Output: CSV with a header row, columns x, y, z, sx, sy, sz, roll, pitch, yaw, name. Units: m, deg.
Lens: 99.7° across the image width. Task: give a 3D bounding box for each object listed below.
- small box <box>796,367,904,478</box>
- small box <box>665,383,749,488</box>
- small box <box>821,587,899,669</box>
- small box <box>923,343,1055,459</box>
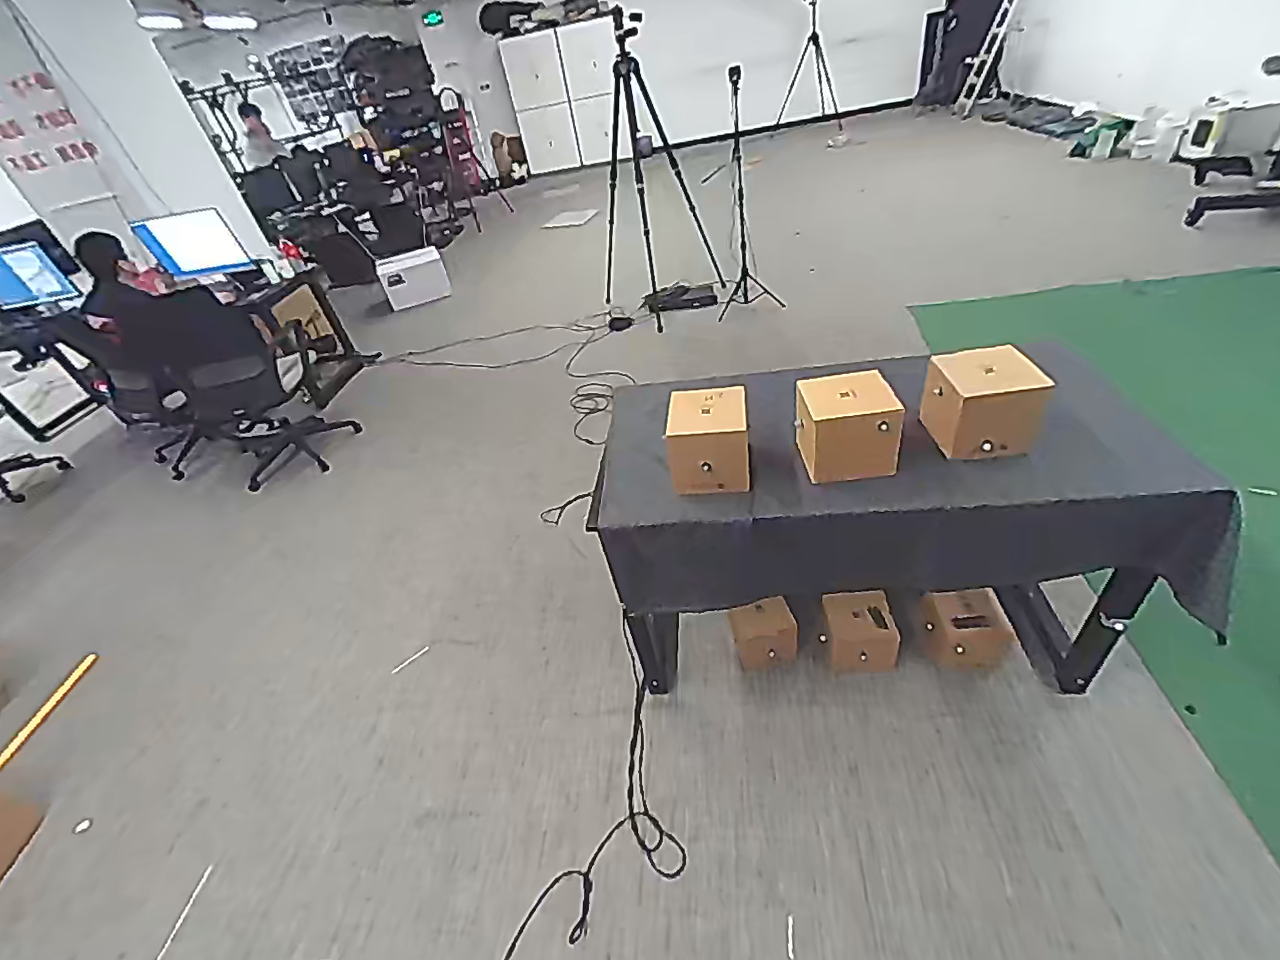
x,y,z,sx,sy,sz,roll,pitch,yaw,name
0.439,-0.118,1.157,0.179,0.176,0.168,-7,39,6,small box
0.154,-0.093,1.199,0.168,0.176,0.179,-2,40,11,small box
0.638,0.436,1.586,0.179,0.176,0.168,-6,39,10,small box
0.718,-0.165,1.137,0.168,0.176,0.179,-7,39,9,small box
